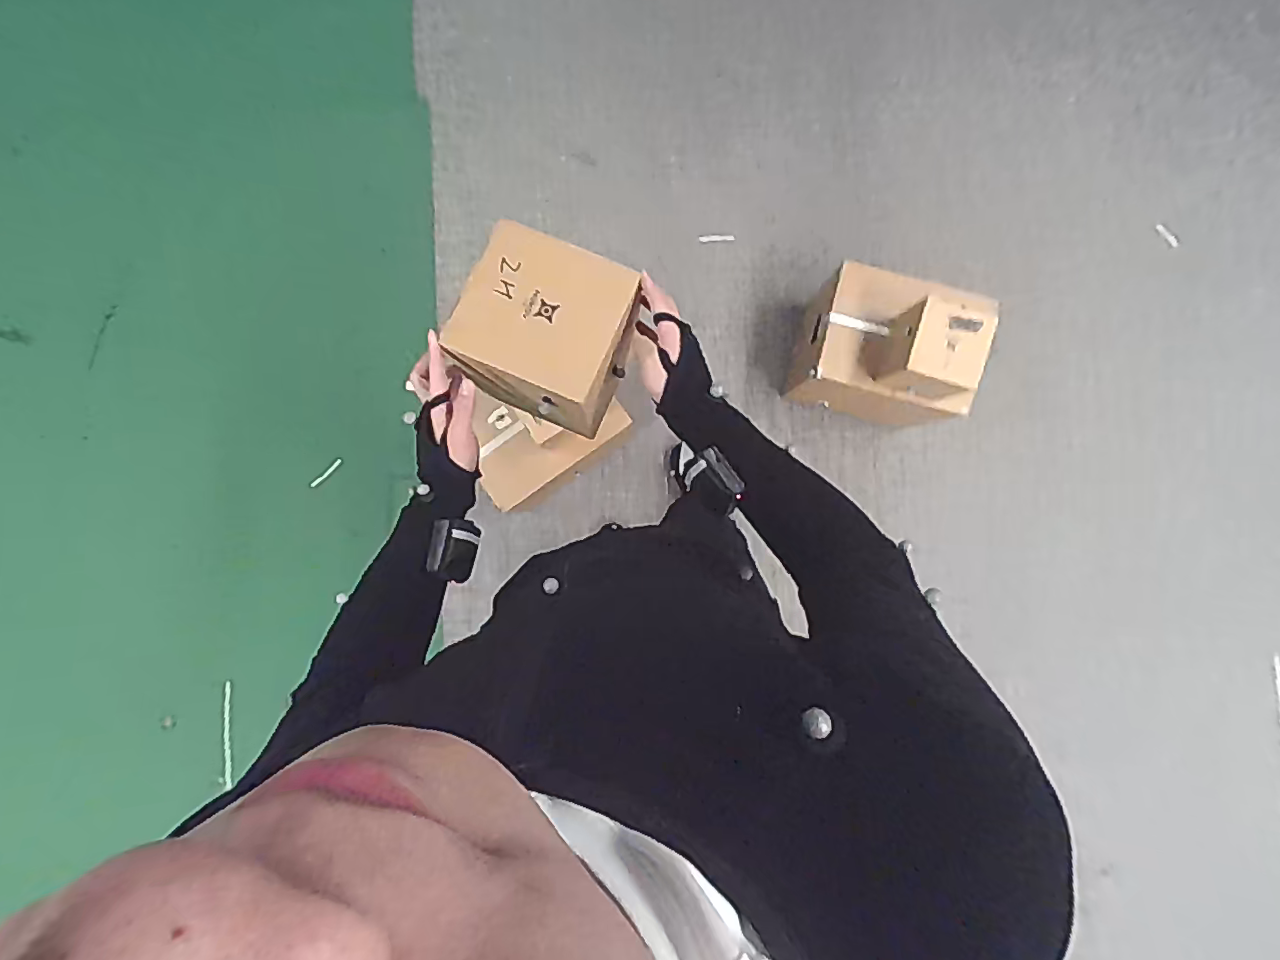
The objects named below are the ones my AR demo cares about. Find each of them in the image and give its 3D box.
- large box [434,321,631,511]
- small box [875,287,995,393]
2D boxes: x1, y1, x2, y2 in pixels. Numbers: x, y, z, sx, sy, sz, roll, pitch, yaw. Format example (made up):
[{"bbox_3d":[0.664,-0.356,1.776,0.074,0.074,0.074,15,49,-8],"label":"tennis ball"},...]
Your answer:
[{"bbox_3d":[-0.272,-0.160,1.501,0.408,0.320,0.320,-36,88,0],"label":"large box"},{"bbox_3d":[0.682,-0.319,1.270,0.168,0.176,0.179,17,90,0],"label":"small box"}]
